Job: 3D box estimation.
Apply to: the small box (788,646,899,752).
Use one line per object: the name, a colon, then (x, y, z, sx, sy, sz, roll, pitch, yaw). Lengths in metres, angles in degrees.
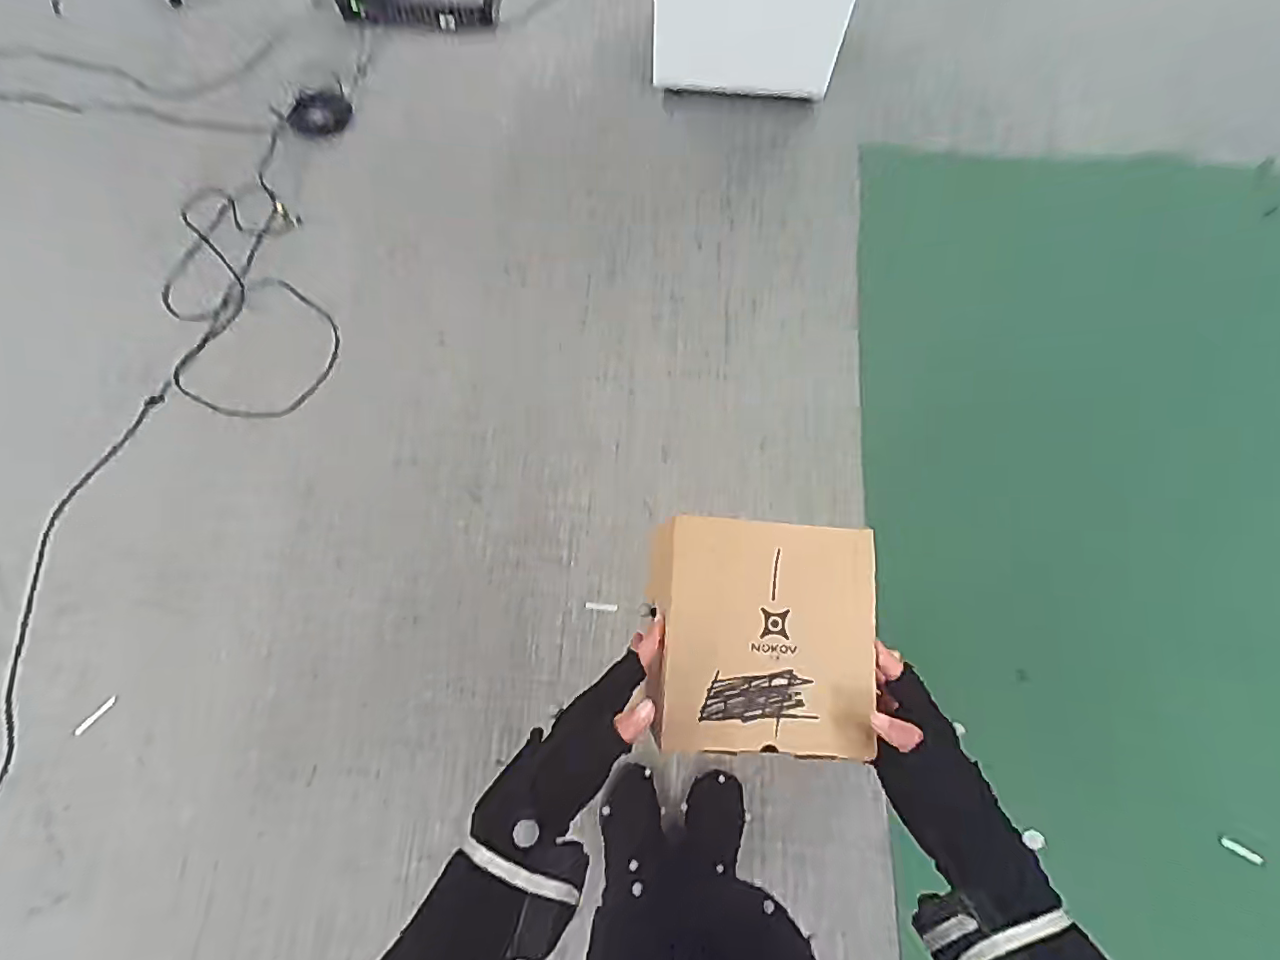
small box: (0.403, 0.435, 1.095, 0.168, 0.176, 0.179, 5, 73, 2)
